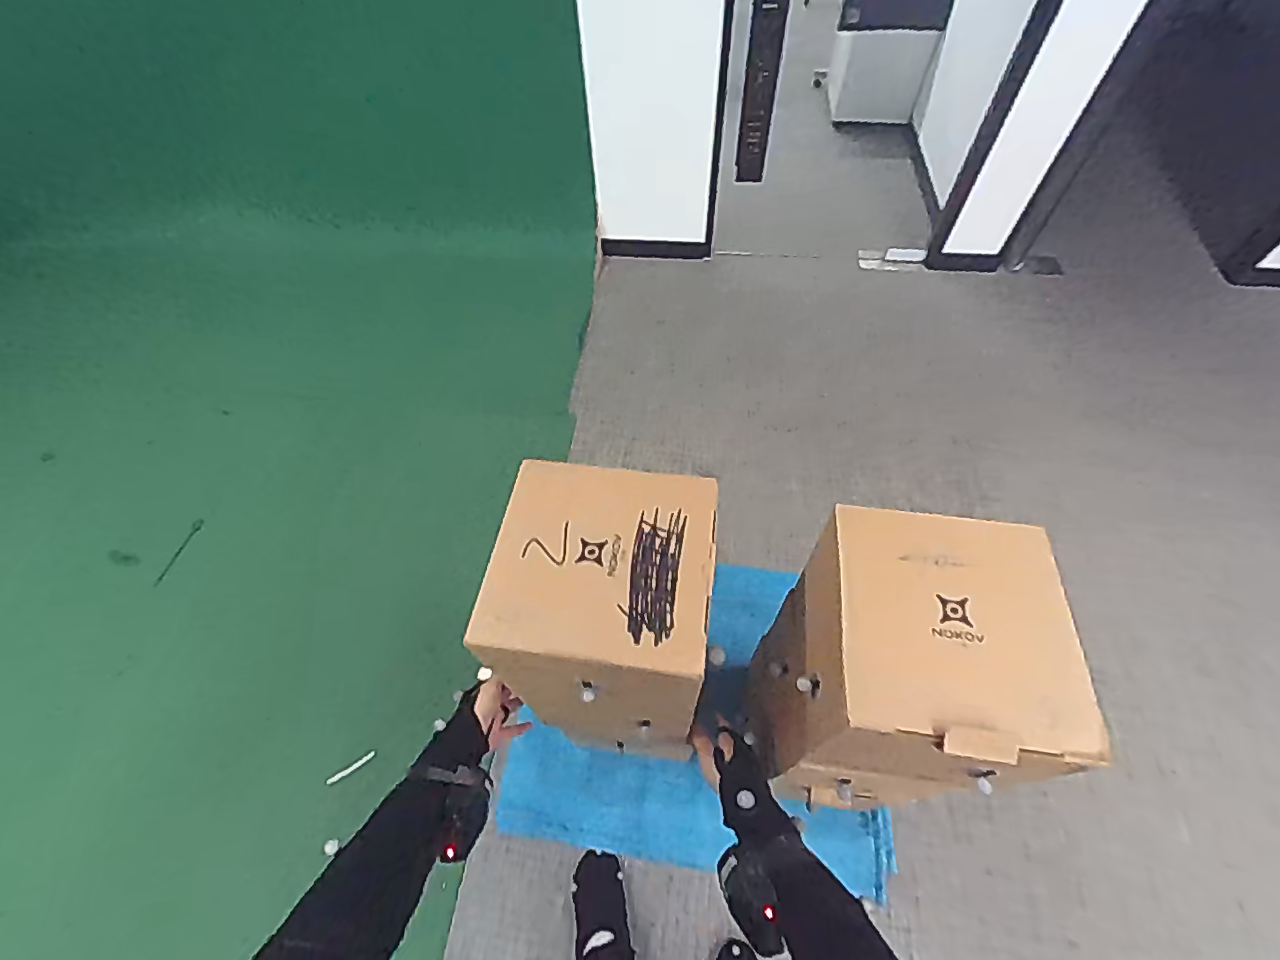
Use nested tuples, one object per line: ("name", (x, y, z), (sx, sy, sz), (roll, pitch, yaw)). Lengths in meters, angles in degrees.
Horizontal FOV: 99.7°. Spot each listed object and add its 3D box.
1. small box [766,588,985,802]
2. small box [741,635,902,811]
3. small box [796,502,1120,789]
("small box", (0.234, 0.238, 0.586), (0.168, 0.176, 0.179), (5, 55, 5))
("small box", (0.230, 0.329, 0.721), (0.168, 0.176, 0.179), (7, 57, 6))
("small box", (0.232, 0.143, 0.453), (0.168, 0.176, 0.179), (7, 55, 6))
